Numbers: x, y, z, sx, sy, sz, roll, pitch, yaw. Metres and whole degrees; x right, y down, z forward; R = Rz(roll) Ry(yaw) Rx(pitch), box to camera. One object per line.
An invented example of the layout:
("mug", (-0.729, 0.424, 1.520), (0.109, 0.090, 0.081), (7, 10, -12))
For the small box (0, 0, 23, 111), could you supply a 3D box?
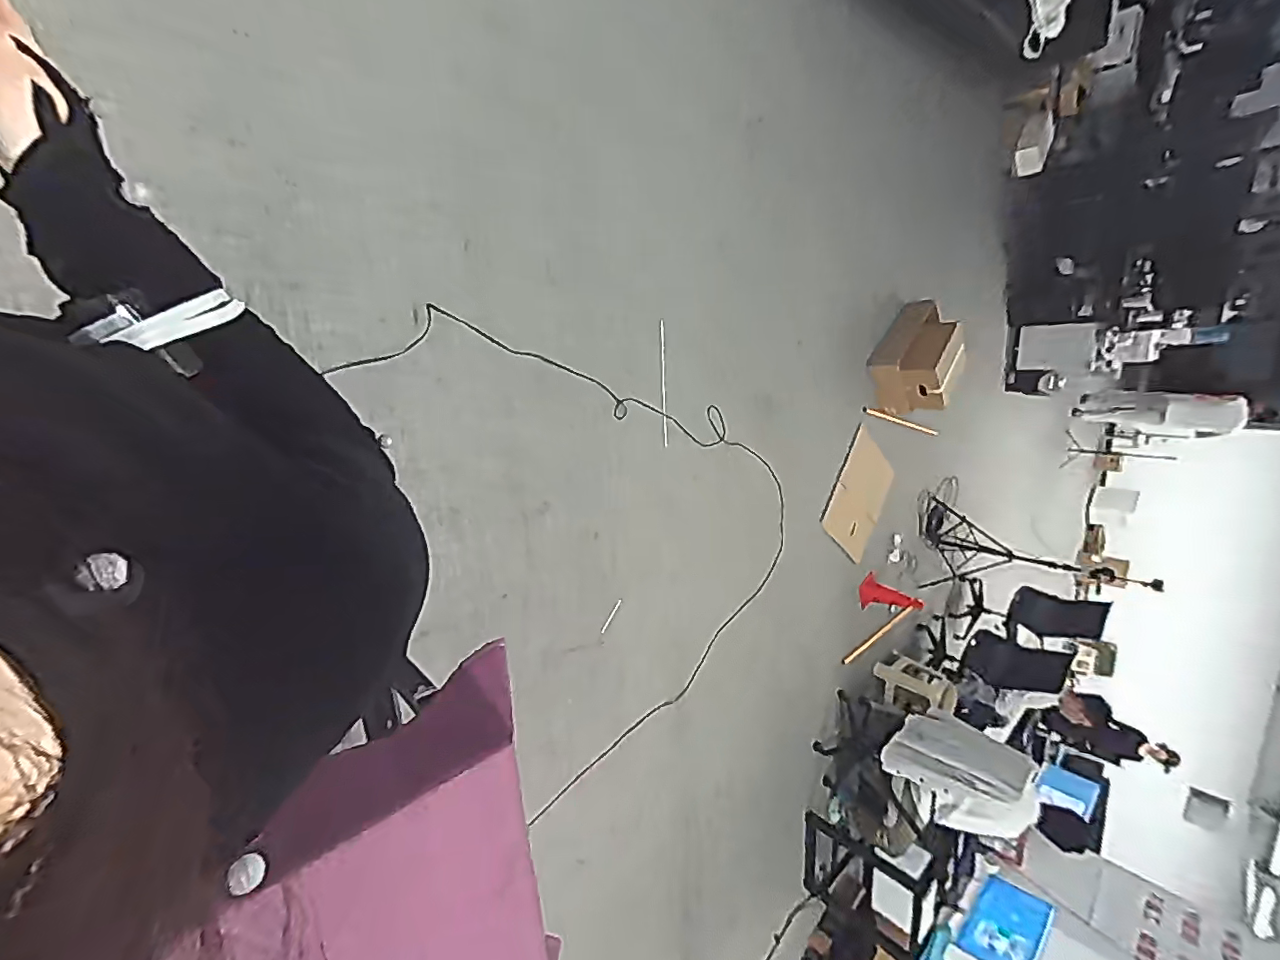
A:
("small box", (-0.414, -0.282, 0.227), (0.168, 0.176, 0.179), (-9, 119, -37))
